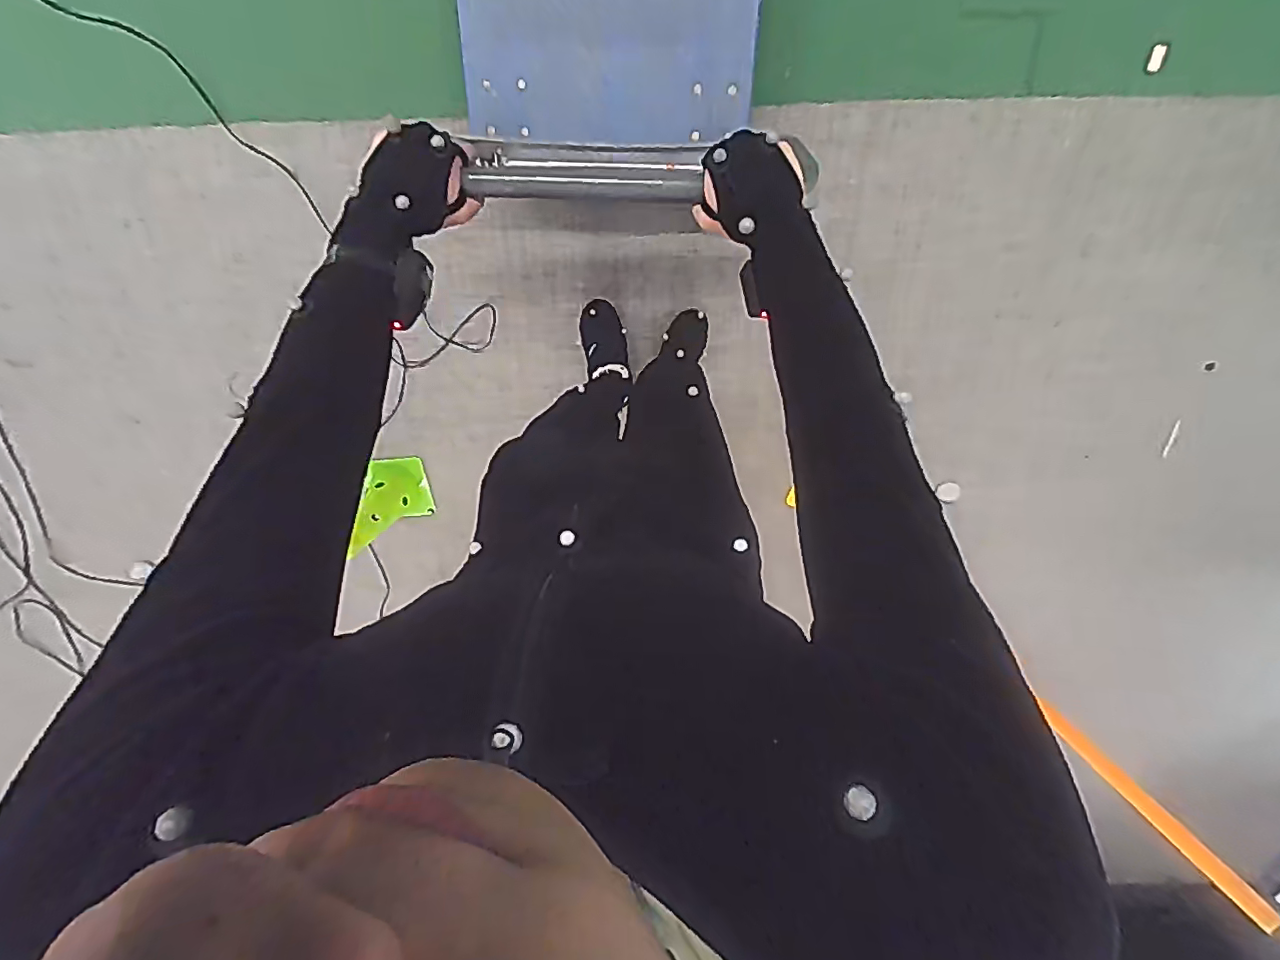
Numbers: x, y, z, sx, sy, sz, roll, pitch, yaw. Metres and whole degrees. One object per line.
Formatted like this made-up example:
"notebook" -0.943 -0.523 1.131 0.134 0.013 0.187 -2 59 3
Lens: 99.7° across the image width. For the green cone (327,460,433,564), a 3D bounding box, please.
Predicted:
"green cone" -0.755 0.110 1.510 0.202 0.368 0.200 -5 116 3
